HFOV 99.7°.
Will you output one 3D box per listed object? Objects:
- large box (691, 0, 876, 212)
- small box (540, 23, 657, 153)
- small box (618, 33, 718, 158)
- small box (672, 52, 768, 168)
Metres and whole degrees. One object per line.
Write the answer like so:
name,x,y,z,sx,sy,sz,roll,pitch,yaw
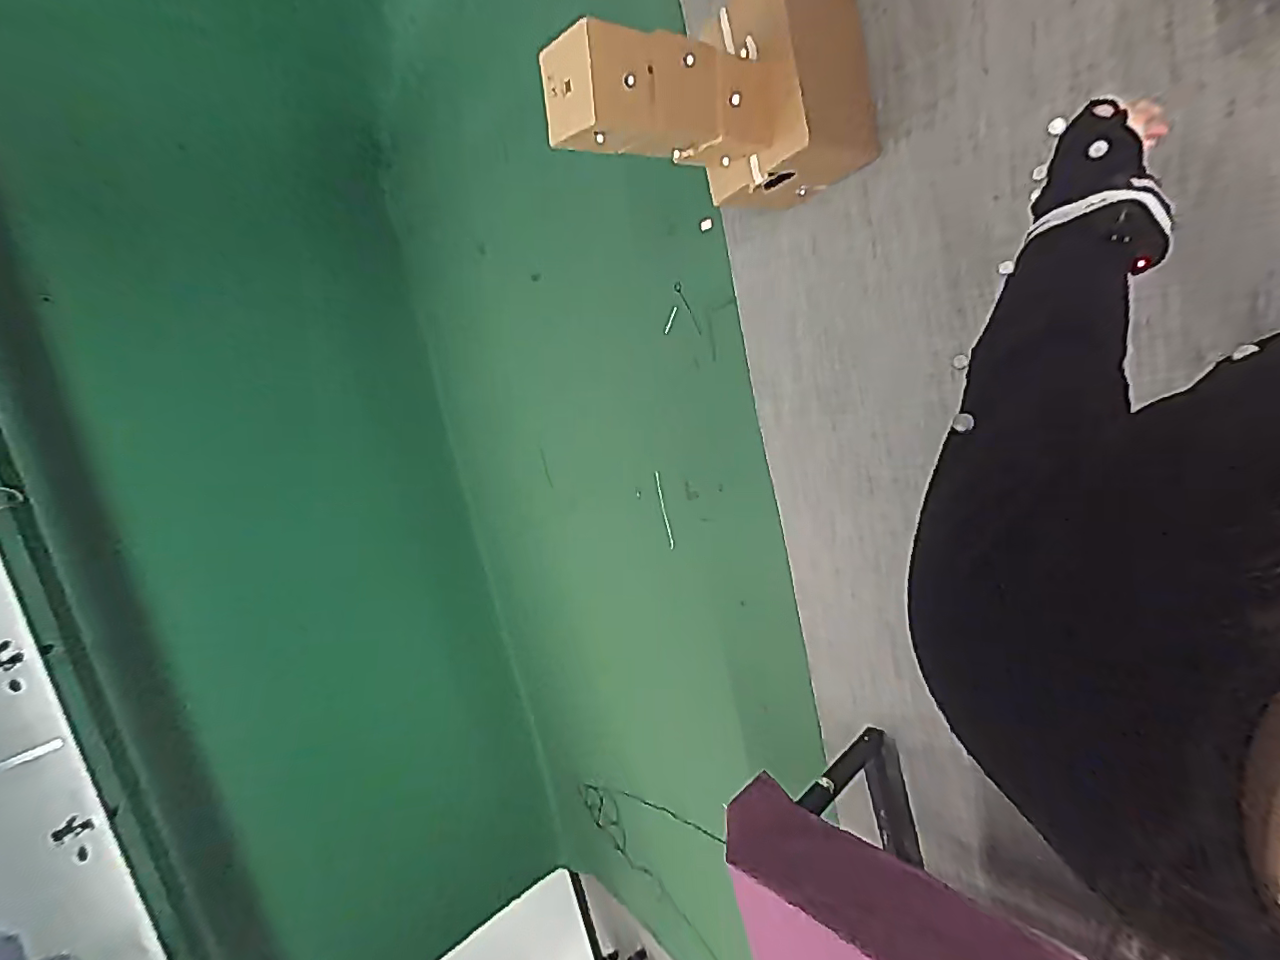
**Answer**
large box,0.363,-0.971,1.405,0.320,0.320,0.408,-5,100,53
small box,-0.077,-0.778,1.095,0.179,0.176,0.168,19,119,49
small box,0.054,-0.825,1.182,0.168,0.176,0.179,18,120,49
small box,0.185,-0.858,1.274,0.168,0.176,0.179,13,115,50
